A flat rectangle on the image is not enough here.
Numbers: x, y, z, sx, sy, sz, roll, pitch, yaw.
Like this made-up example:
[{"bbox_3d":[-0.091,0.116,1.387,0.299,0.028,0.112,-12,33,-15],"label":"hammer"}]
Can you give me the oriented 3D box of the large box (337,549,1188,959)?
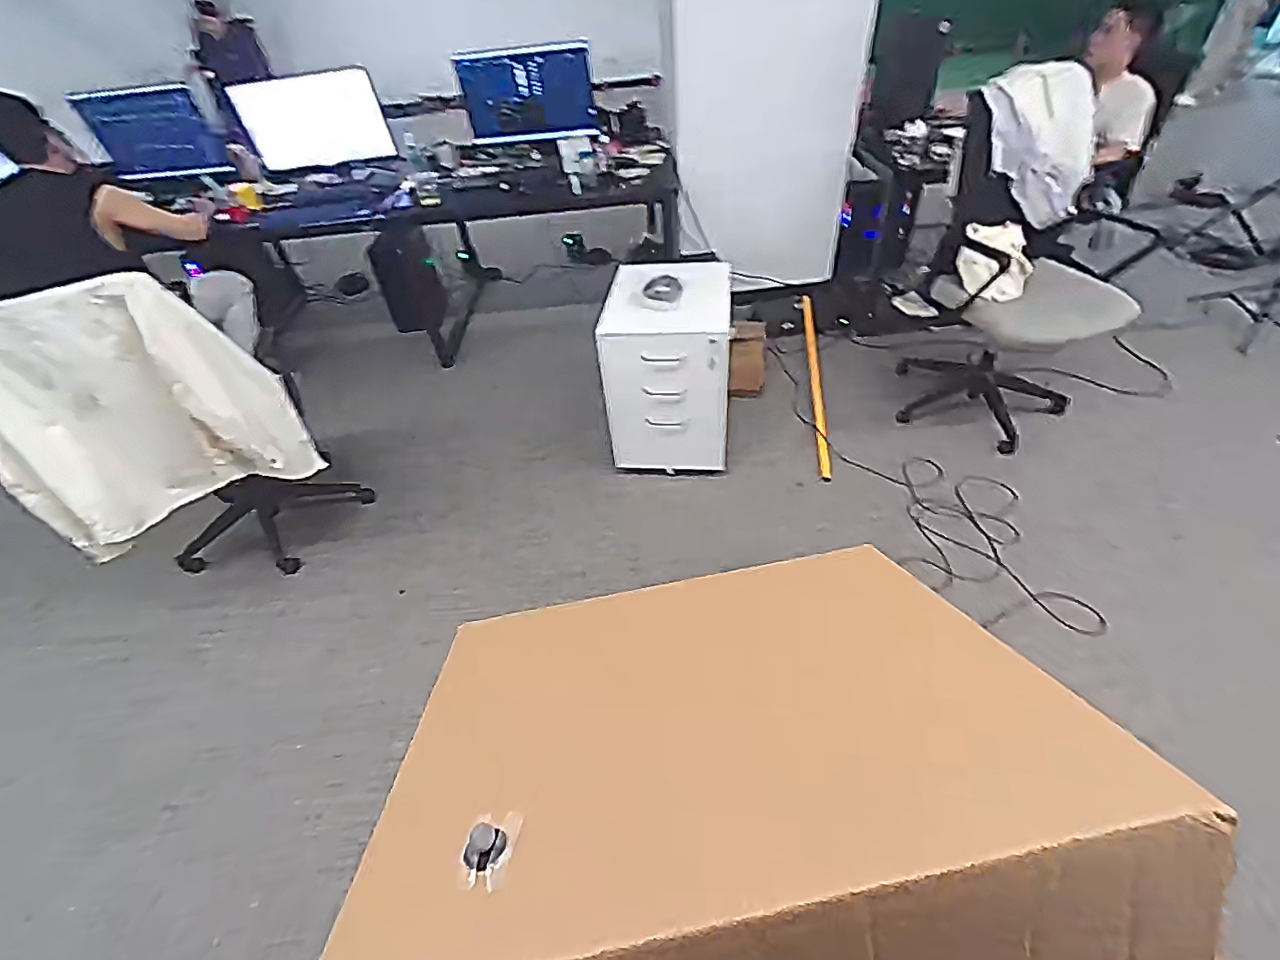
[{"bbox_3d":[0.067,0.283,0.419,0.408,0.320,0.320,-11,17,-3],"label":"large box"}]
